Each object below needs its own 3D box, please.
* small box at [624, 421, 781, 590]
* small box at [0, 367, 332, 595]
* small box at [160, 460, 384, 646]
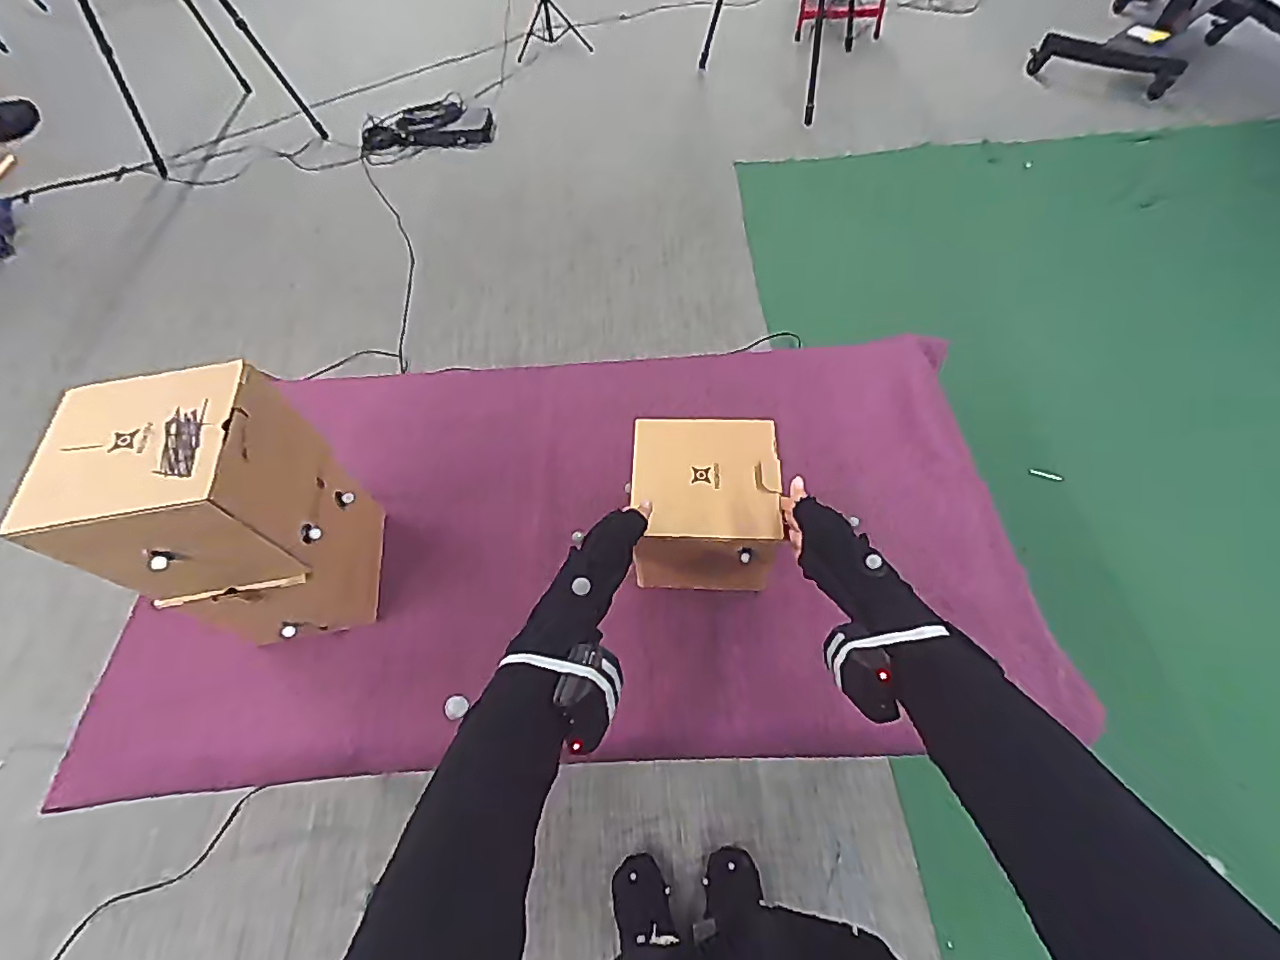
[{"bbox_3d":[0.078,0.038,0.706,0.179,0.176,0.168,0,59,4],"label":"small box"},{"bbox_3d":[-0.459,0.008,0.566,0.179,0.176,0.168,-8,57,-1],"label":"small box"},{"bbox_3d":[-0.455,0.098,0.707,0.168,0.176,0.179,-10,59,-2],"label":"small box"}]
